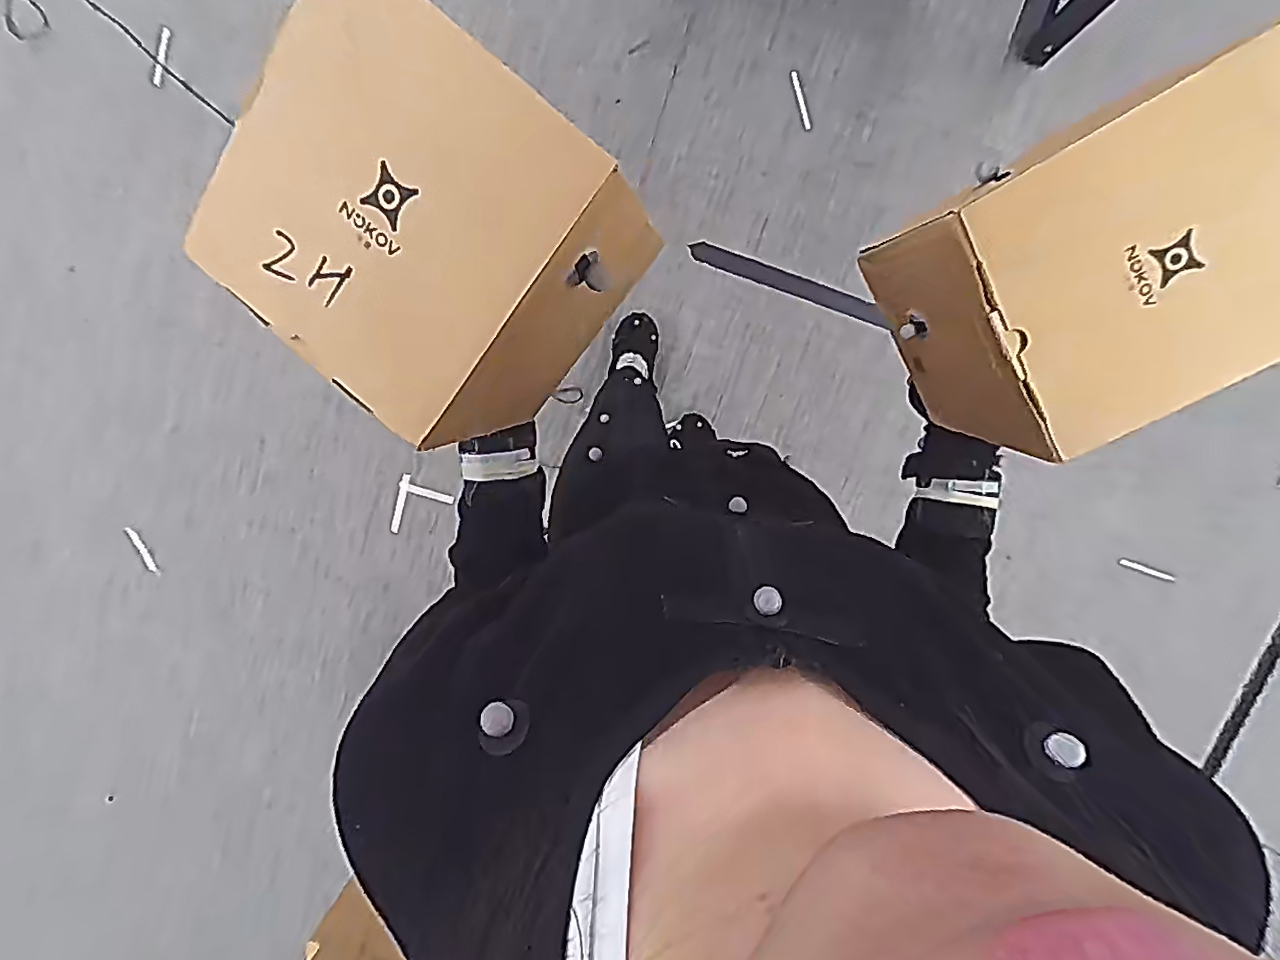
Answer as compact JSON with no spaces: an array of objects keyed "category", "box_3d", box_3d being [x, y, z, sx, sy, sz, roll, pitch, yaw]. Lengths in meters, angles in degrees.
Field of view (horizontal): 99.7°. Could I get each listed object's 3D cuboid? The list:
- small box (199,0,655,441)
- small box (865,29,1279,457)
[{"category":"small box","box_3d":[-0.105,-0.151,0.341,0.168,0.176,0.179,41,106,0]},{"category":"small box","box_3d":[0.293,-0.142,0.377,0.179,0.176,0.168,-29,102,11]}]
